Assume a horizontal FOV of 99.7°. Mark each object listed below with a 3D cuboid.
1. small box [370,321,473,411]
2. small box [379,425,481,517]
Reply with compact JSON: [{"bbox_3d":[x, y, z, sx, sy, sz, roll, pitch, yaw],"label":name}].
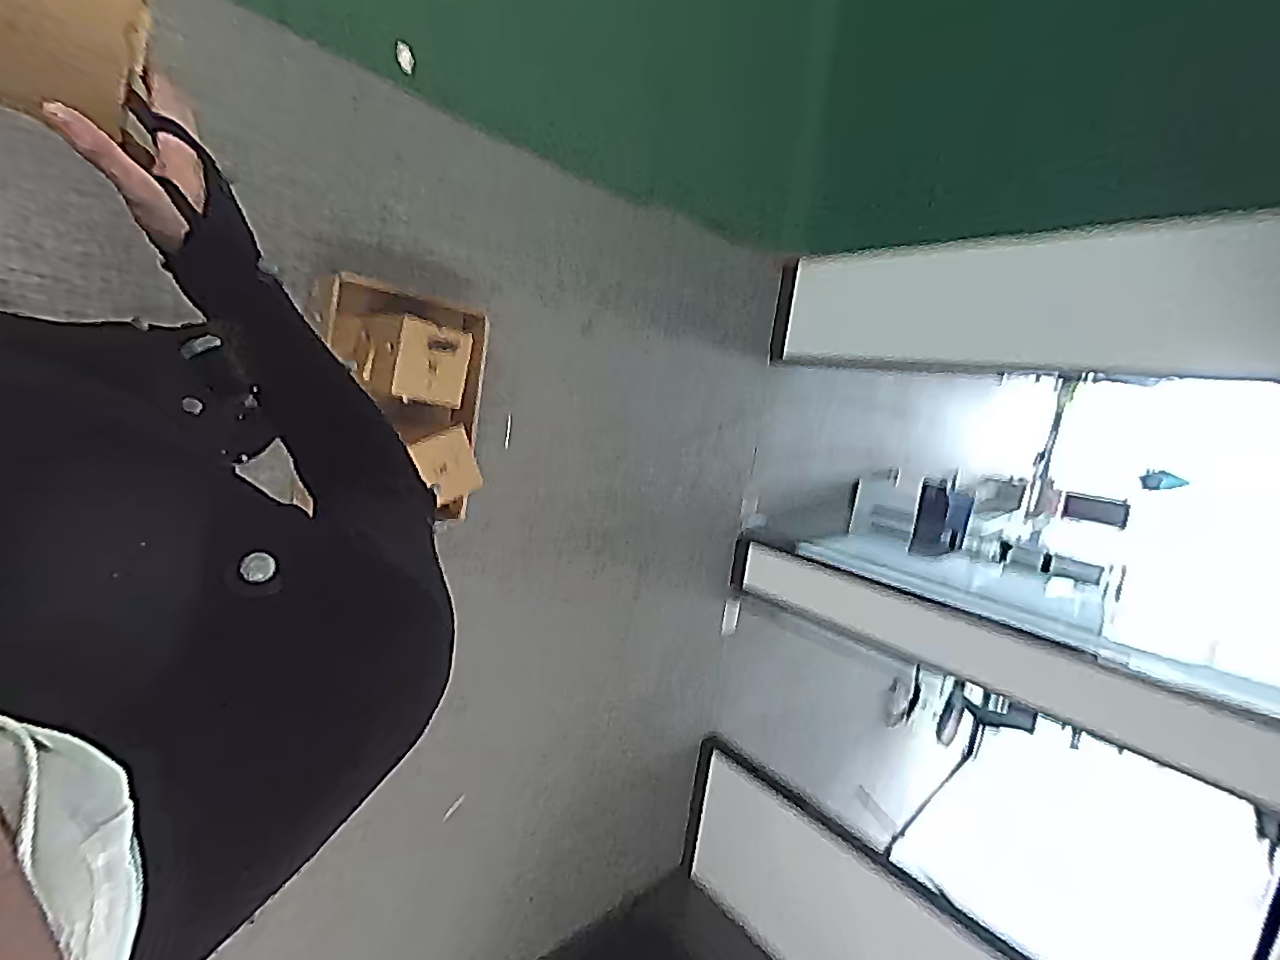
[{"bbox_3d":[-0.532,-0.276,1.308,0.168,0.176,0.179,8,97,-45],"label":"small box"},{"bbox_3d":[-0.538,-0.030,1.373,0.179,0.176,0.168,-29,120,-35],"label":"small box"}]
